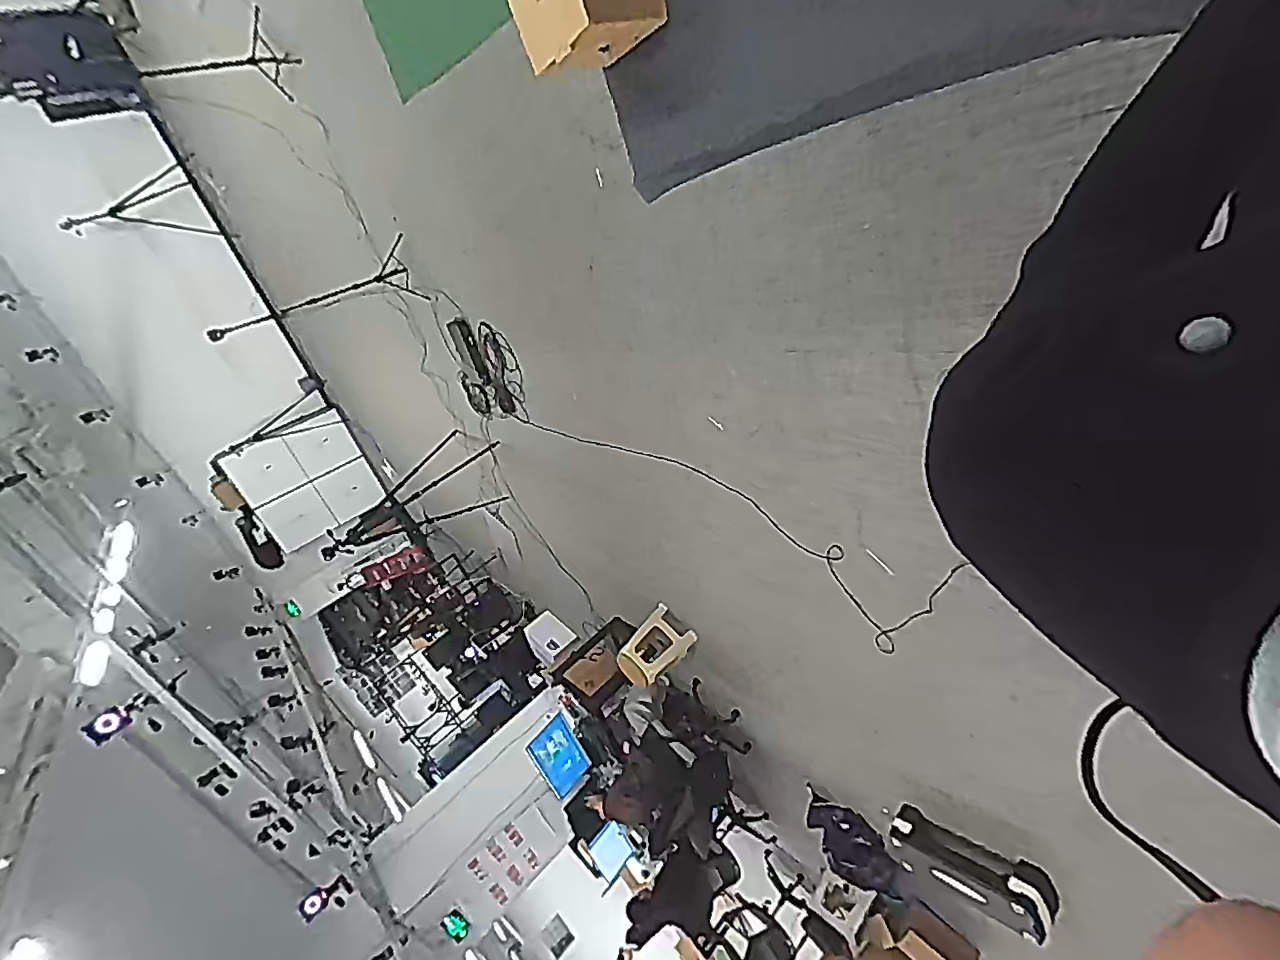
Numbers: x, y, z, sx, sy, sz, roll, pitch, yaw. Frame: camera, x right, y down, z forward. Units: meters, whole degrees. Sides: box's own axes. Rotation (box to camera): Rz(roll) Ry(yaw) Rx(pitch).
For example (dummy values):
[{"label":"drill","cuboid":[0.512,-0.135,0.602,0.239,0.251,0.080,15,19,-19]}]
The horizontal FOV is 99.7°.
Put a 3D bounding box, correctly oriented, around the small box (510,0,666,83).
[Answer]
[{"label":"small box","cuboid":[-0.086,-0.764,0.840,0.168,0.176,0.179,9,129,49]}]
